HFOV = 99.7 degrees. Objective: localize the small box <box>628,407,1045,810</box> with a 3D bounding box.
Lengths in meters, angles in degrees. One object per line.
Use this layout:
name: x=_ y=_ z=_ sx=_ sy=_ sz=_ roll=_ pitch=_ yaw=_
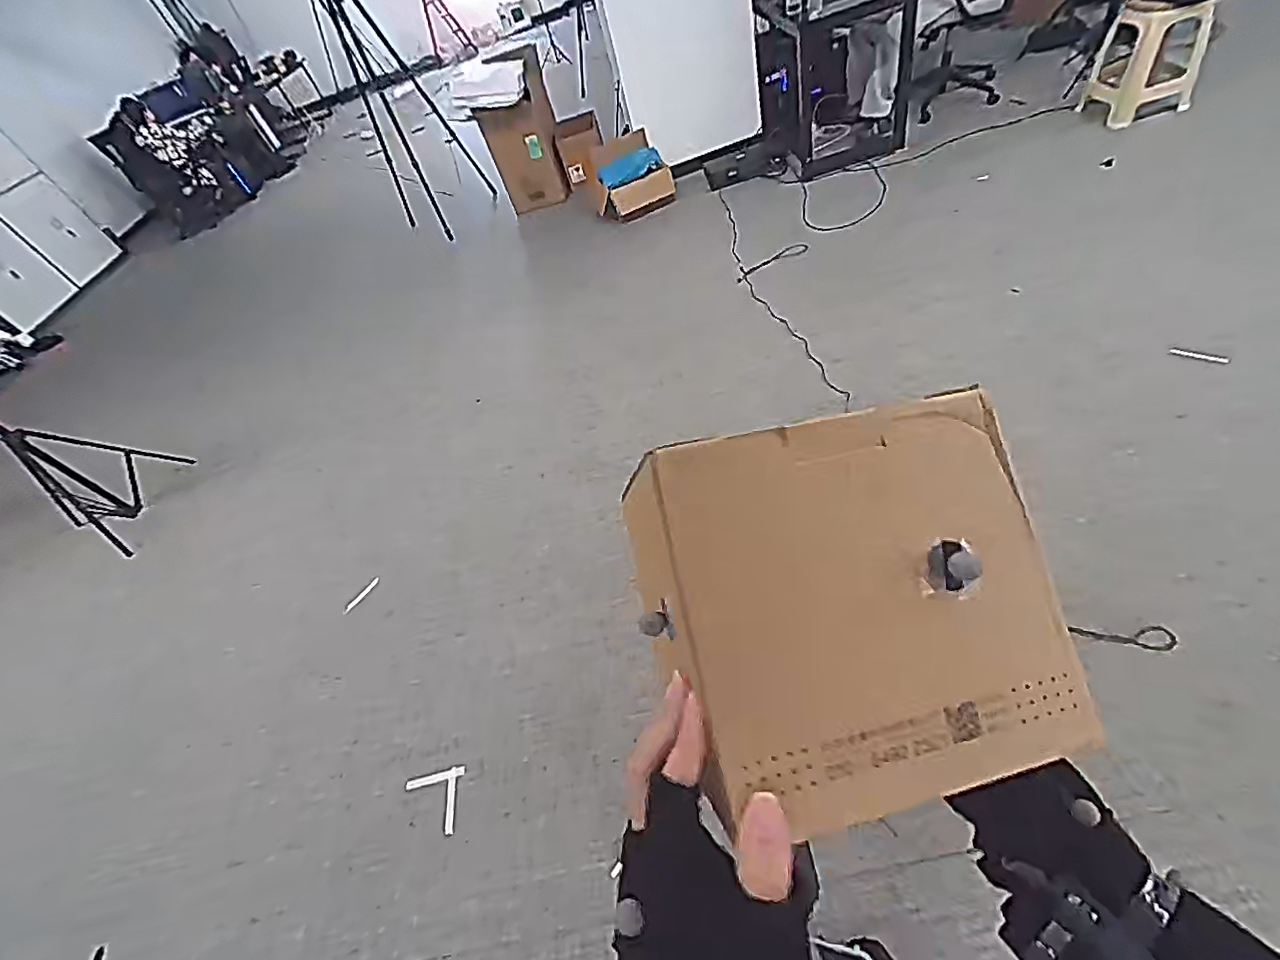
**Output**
small box: x=0.093 y=0.073 z=0.332 sx=0.168 sy=0.179 sz=0.176 roll=-12 pitch=82 yaw=-6
